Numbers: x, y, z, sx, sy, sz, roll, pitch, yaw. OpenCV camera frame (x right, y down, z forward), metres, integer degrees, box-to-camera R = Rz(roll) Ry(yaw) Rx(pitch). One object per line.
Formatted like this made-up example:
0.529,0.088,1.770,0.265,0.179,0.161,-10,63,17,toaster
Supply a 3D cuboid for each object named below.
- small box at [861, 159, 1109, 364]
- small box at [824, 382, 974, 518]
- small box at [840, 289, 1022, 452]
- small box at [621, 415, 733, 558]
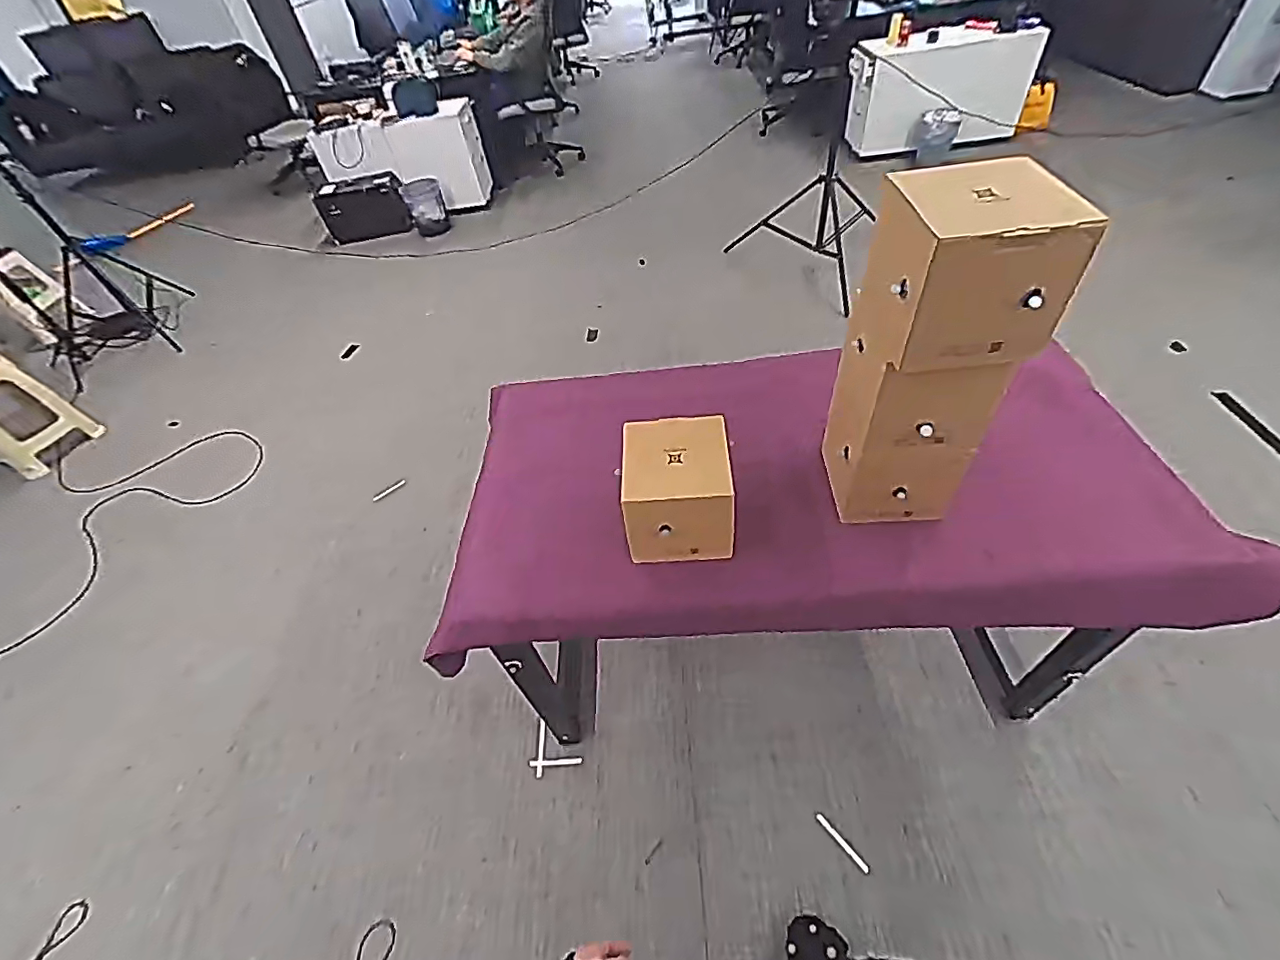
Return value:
0.382,-0.251,0.642,0.168,0.176,0.179,-5,48,3,small box
0.413,-0.048,0.897,0.168,0.176,0.179,-2,48,6,small box
0.398,-0.160,0.777,0.168,0.176,0.179,-3,49,6,small box
0.063,0.017,0.891,0.168,0.176,0.179,-4,47,5,small box
